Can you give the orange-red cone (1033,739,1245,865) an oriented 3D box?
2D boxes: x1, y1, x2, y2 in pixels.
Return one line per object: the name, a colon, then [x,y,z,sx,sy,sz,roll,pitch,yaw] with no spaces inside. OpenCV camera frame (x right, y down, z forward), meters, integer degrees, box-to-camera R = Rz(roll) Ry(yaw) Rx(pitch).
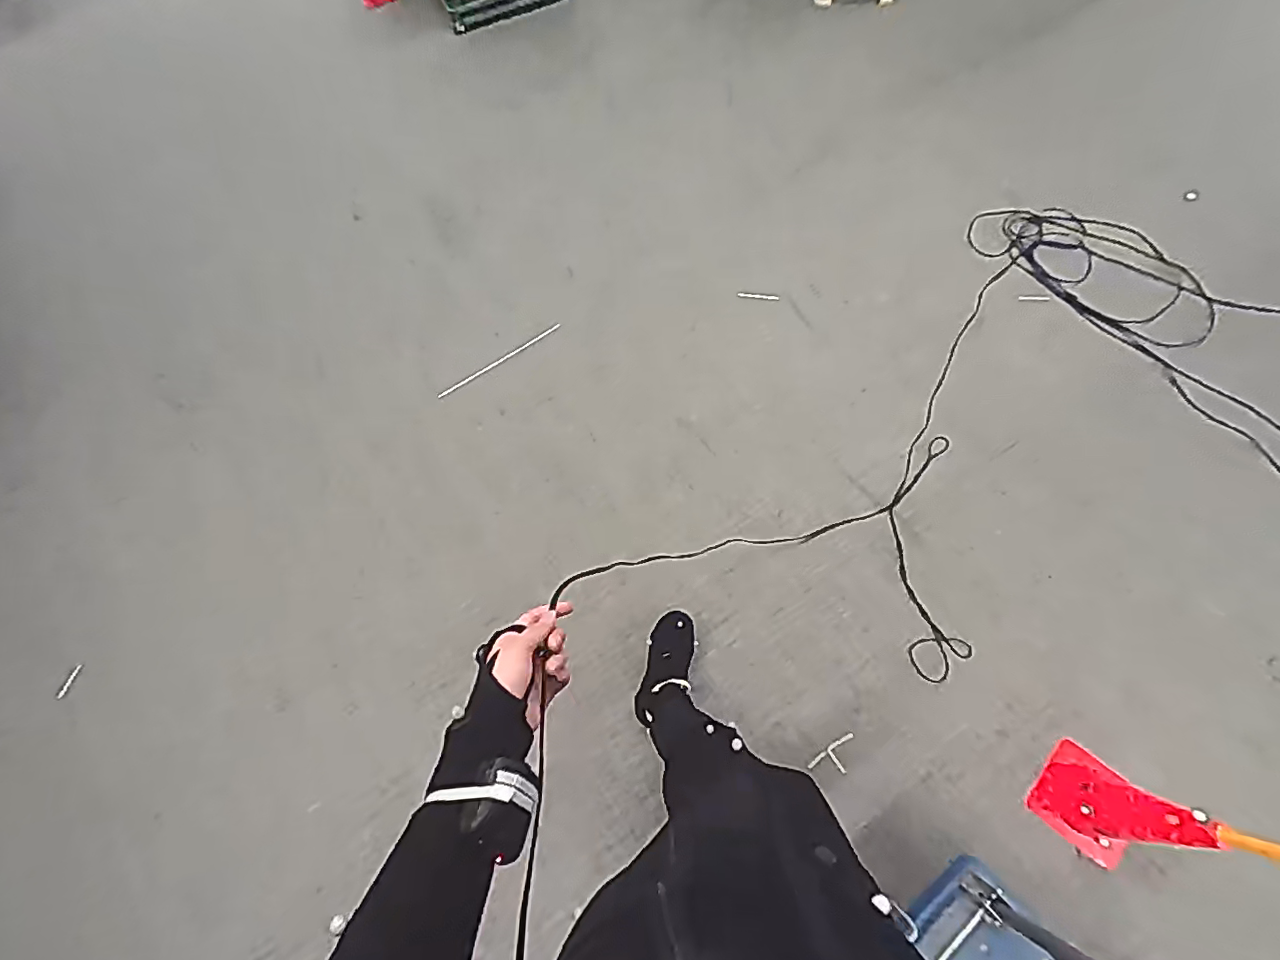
orange-red cone: [1.021,0.668,1.082,0.198,0.360,0.199,39,75,17]
